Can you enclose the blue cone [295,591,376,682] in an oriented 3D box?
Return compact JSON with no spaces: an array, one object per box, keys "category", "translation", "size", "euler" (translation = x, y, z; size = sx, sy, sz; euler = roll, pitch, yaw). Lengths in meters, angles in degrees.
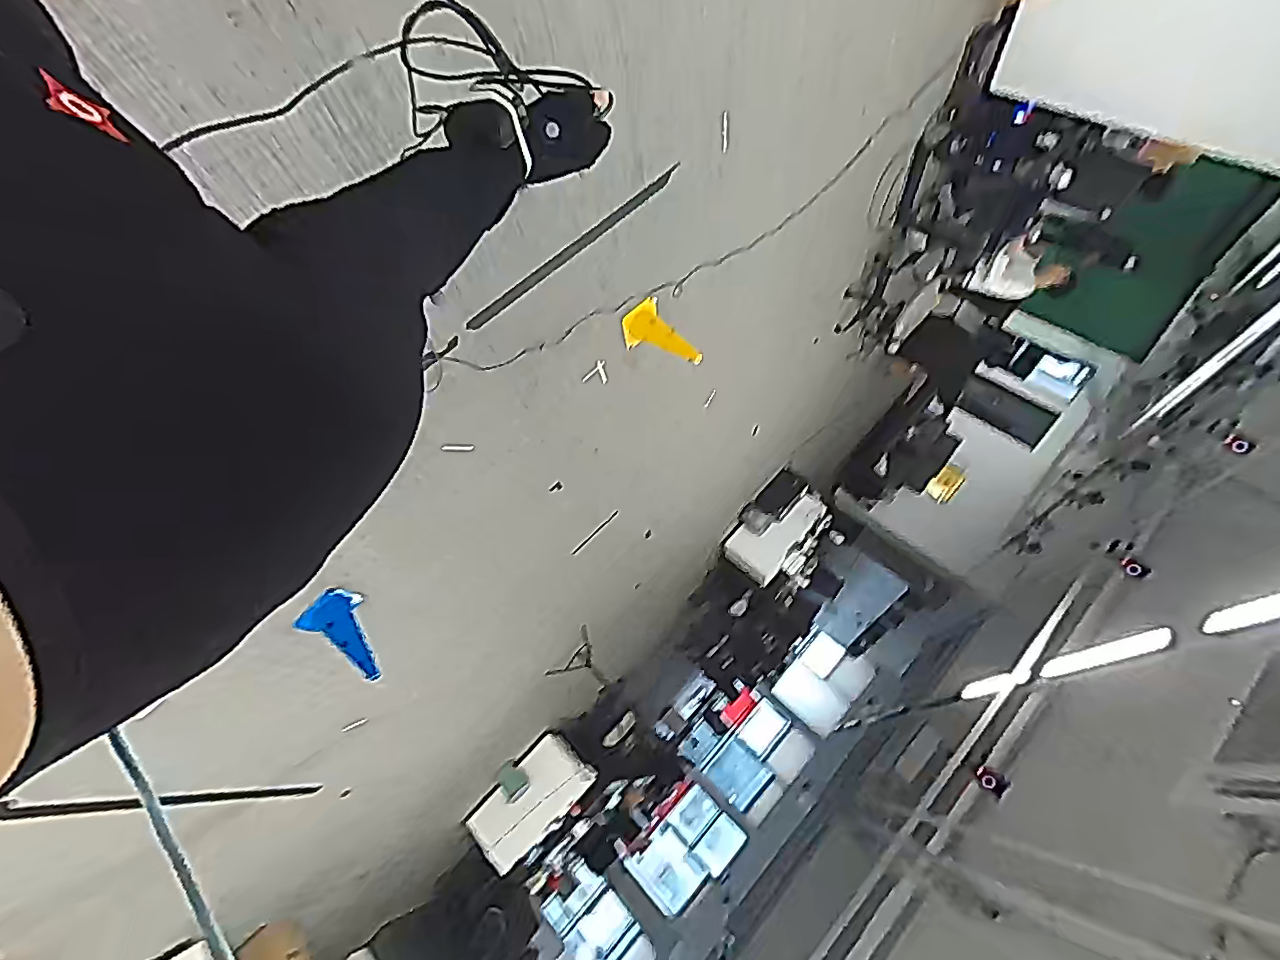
[{"category":"blue cone","translation":[-1.088,0.606,2.017],"size":[0.193,0.380,0.192],"euler":[-46,155,-10]}]
